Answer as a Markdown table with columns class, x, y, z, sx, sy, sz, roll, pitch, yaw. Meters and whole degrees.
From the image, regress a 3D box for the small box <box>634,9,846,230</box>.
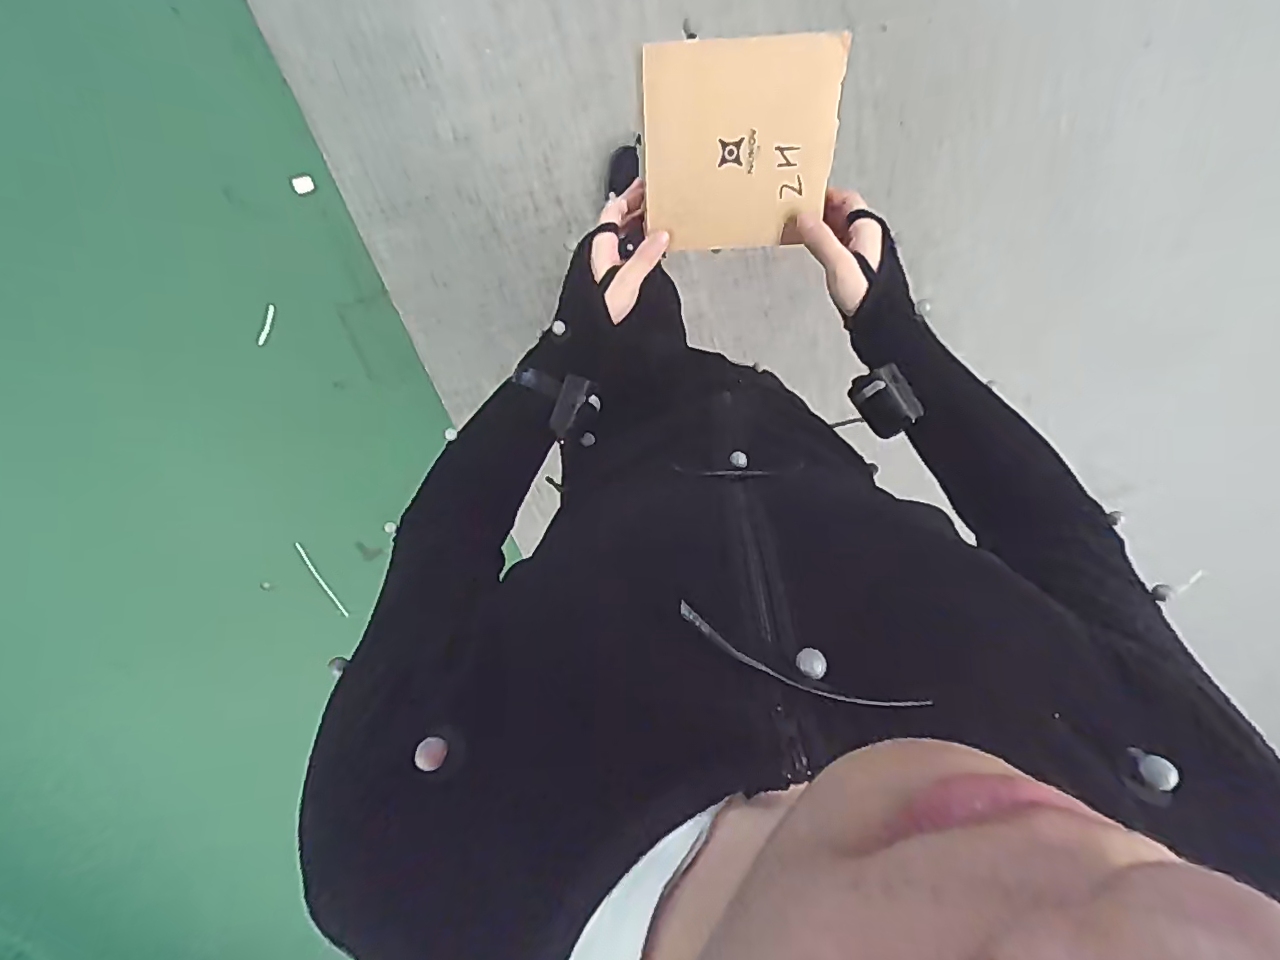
| class | x | y | z | sx | sy | sz | roll | pitch | yaw |
| --- | --- | --- | --- | --- | --- | --- | --- | --- | --- |
| small box | 0.083 | -0.366 | 0.554 | 0.179 | 0.176 | 0.168 | -4 | 129 | 0 |
